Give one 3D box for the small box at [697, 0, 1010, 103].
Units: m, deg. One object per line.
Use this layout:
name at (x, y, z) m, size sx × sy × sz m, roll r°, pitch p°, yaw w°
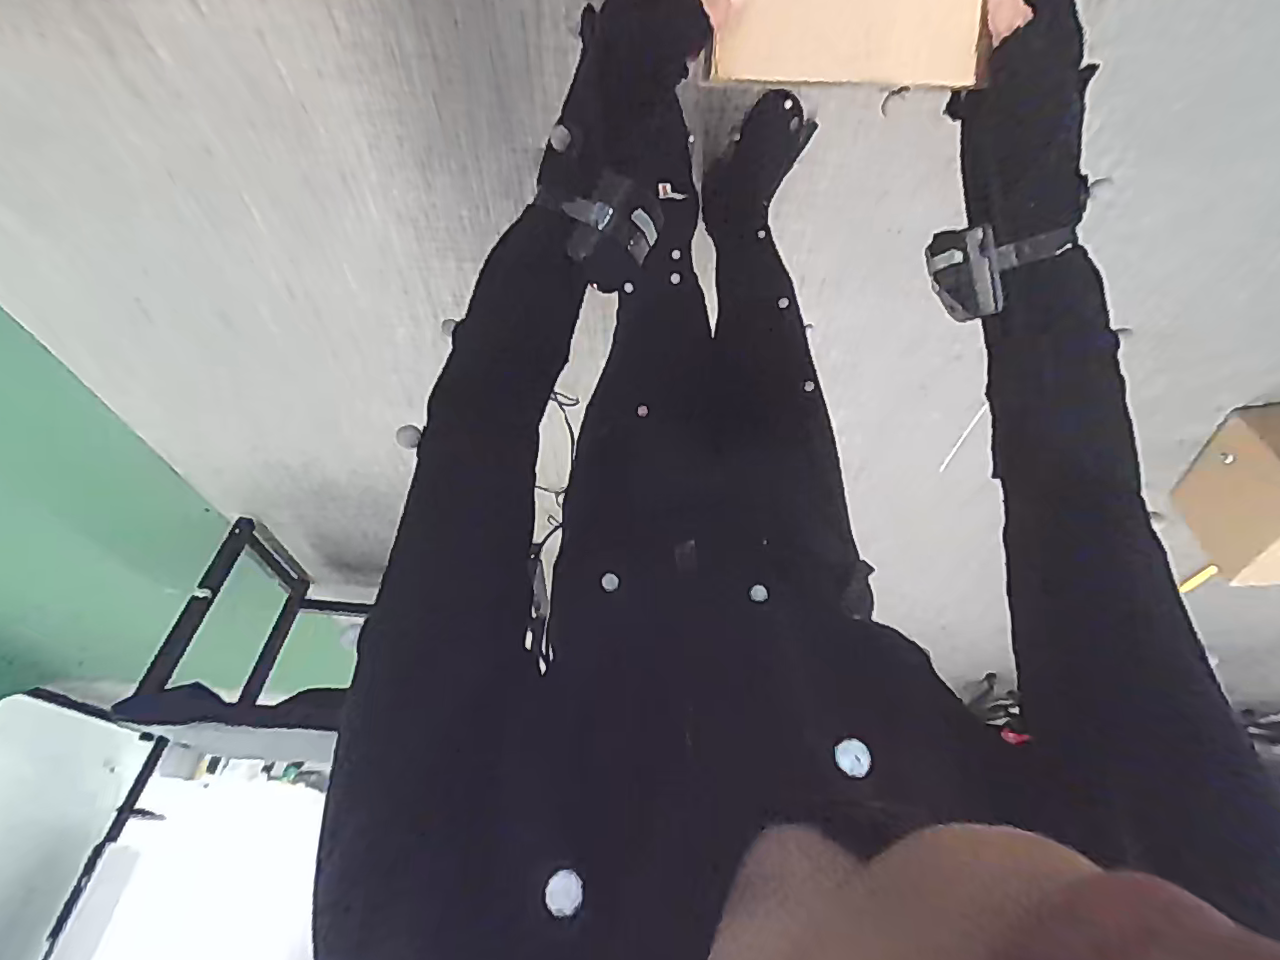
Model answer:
small box at (0.138, -0.364, 0.371) m, size 0.179 × 0.176 × 0.168 m, roll 2°, pitch 123°, yaw 1°
